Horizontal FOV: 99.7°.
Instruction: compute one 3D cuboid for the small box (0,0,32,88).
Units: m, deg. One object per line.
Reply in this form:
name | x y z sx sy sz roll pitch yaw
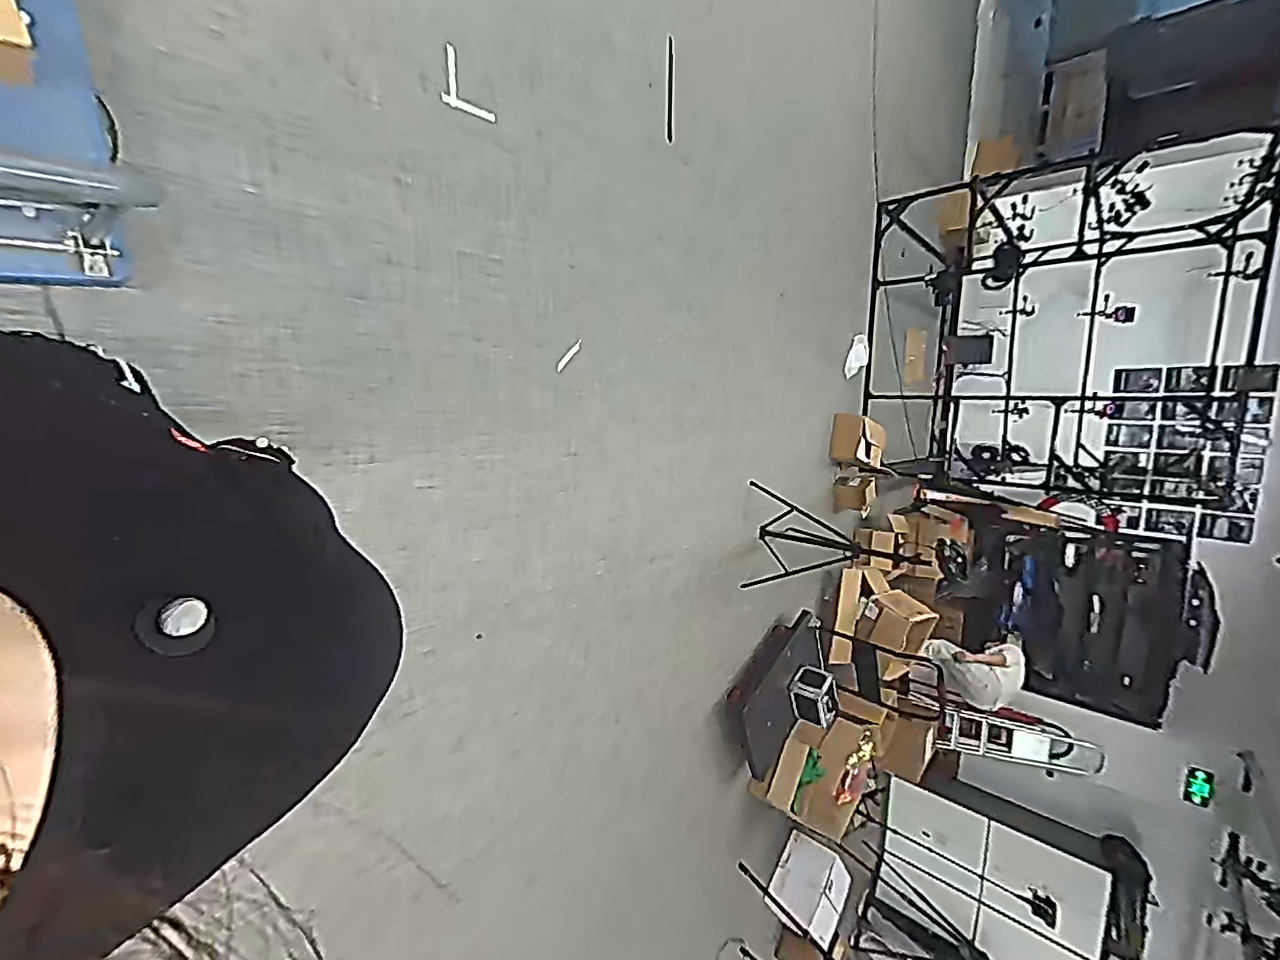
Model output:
small box | -0.974 -0.664 0.727 0.179 0.176 0.168 -23 113 -44
